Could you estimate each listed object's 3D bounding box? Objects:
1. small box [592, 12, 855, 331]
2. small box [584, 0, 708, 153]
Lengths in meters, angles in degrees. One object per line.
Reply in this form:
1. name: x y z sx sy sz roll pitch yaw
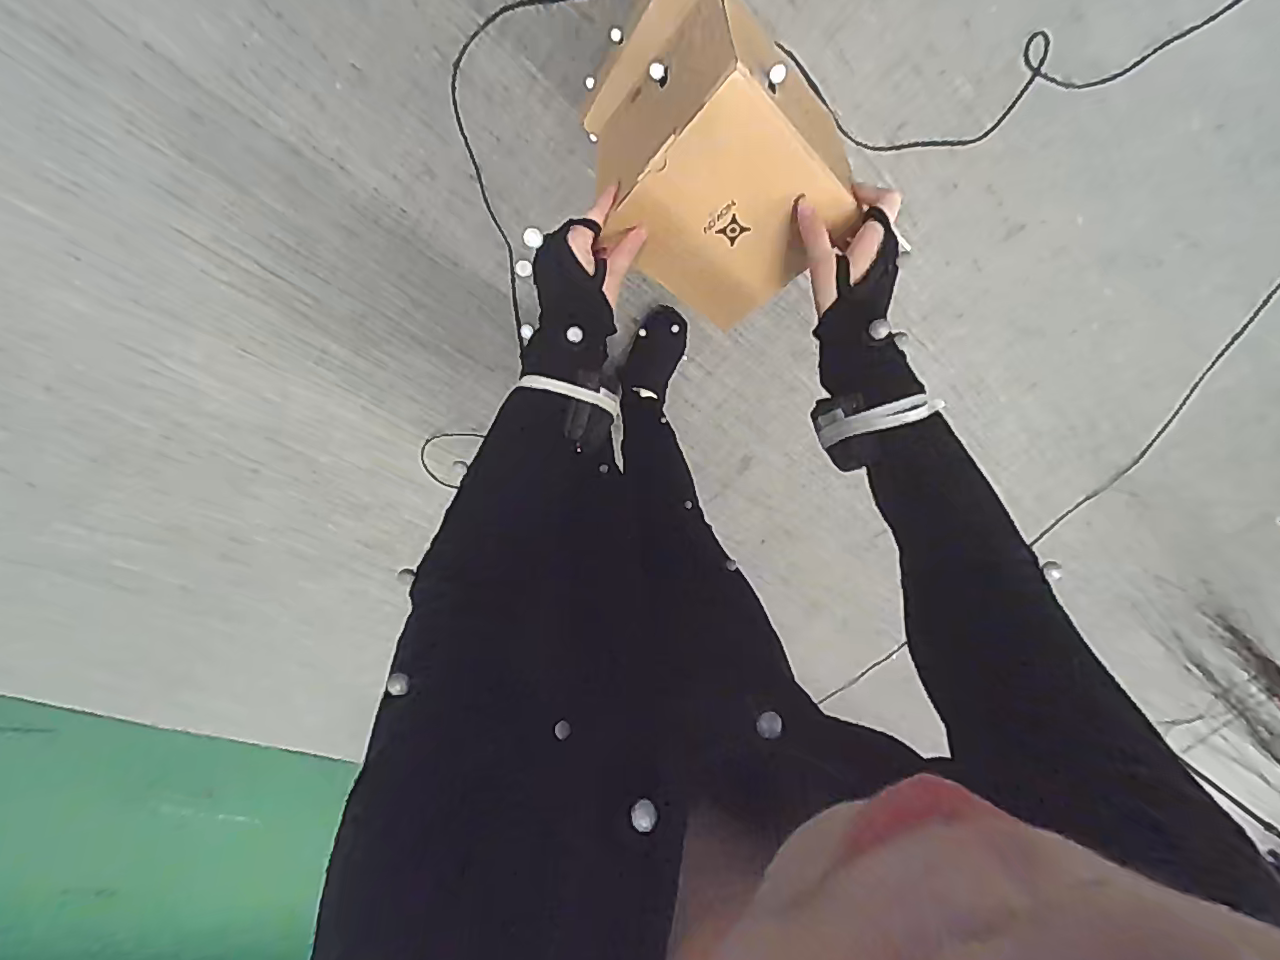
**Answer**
1. small box: 0.075 -0.288 0.521 0.179 0.176 0.168 25 140 -31
2. small box: 0.042 -0.484 0.701 0.168 0.176 0.179 27 120 -25
